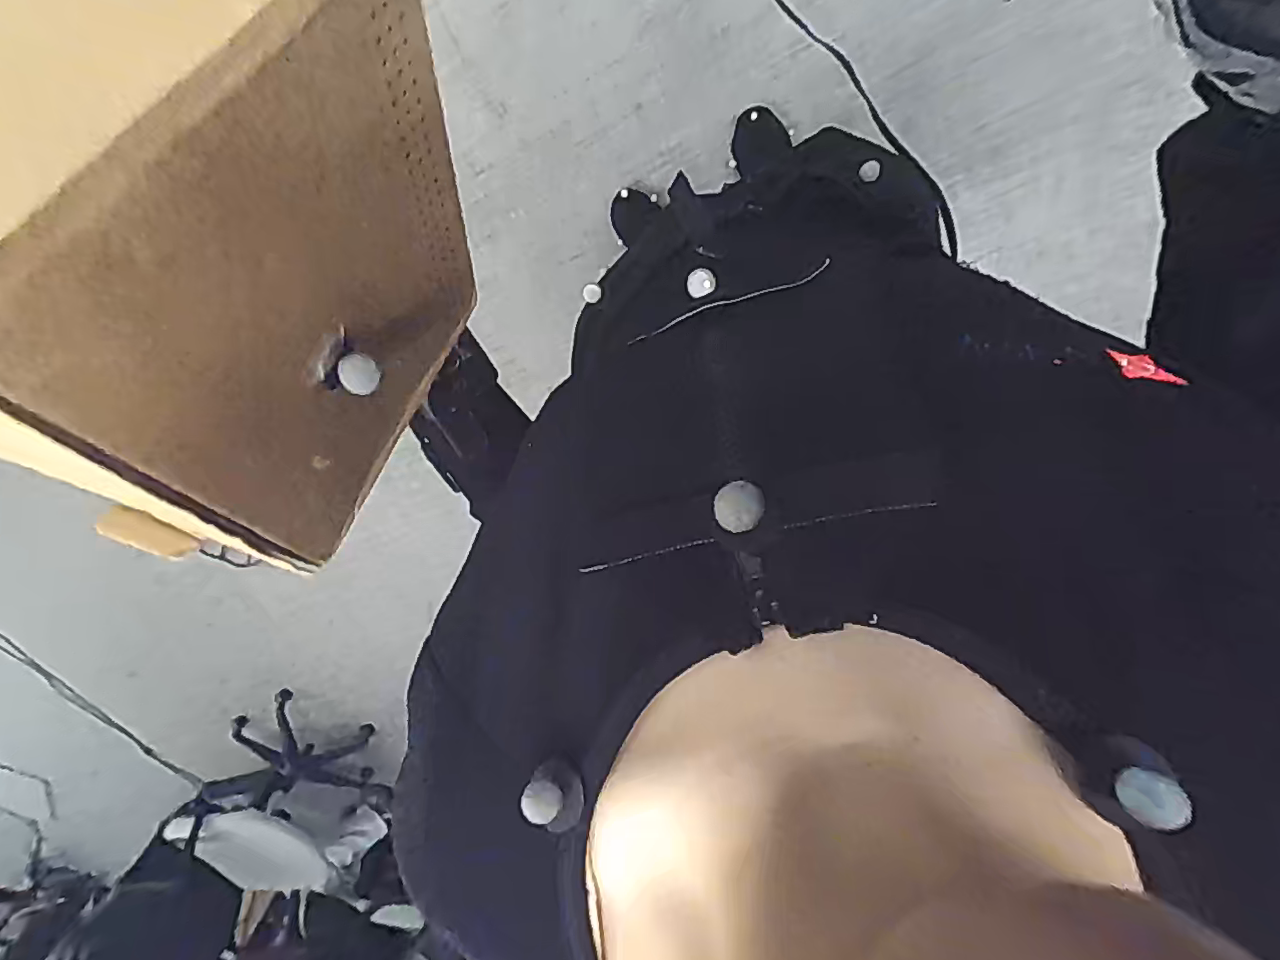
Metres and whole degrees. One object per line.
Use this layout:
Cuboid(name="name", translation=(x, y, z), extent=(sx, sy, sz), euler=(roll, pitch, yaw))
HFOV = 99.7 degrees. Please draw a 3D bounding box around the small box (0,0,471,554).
Cuboid(name="small box", translation=(-0.179, -0.095, 0.200), extent=(0.168, 0.176, 0.179), euler=(20, 157, -1))
